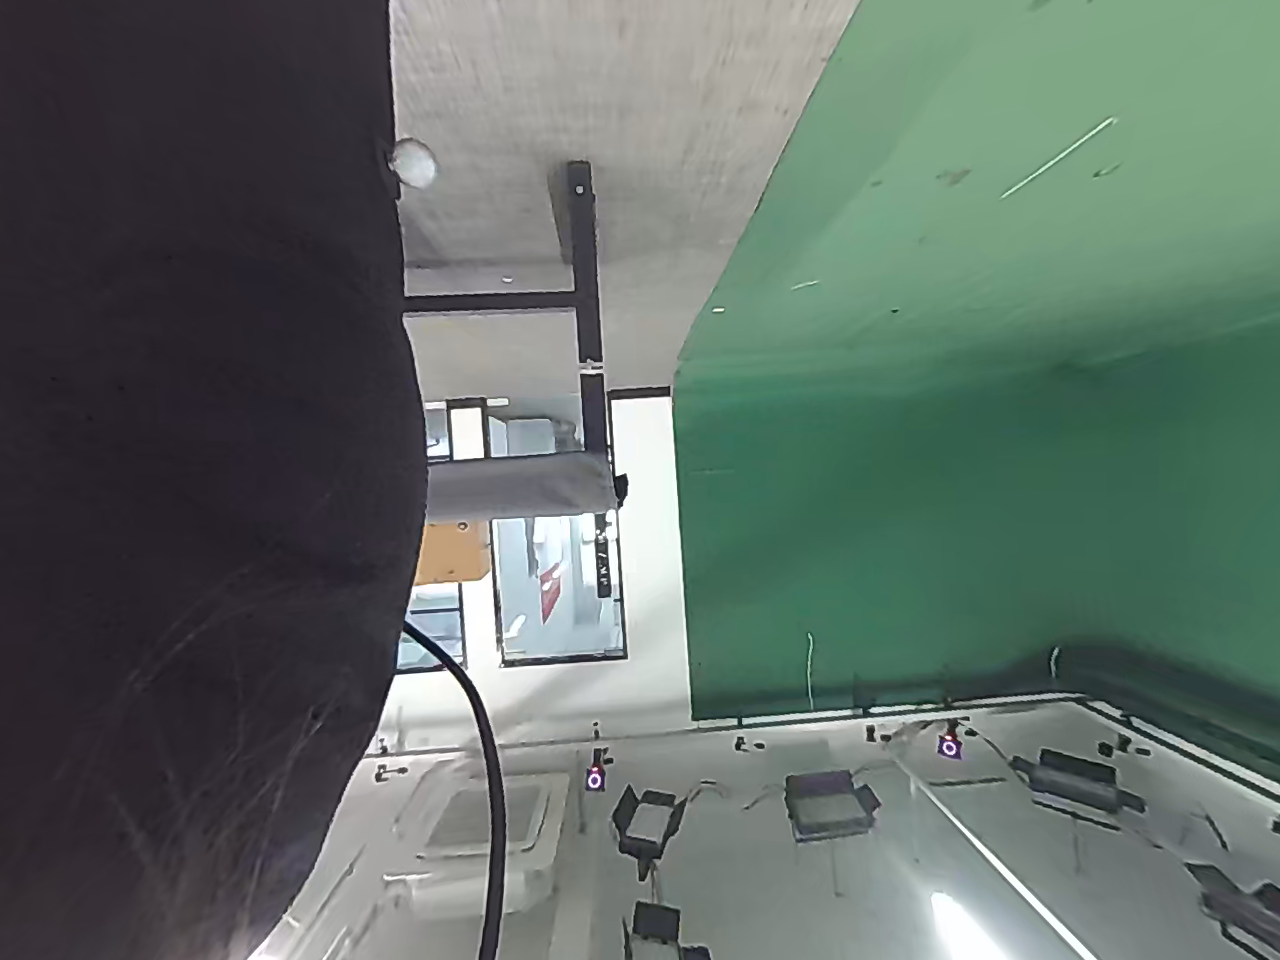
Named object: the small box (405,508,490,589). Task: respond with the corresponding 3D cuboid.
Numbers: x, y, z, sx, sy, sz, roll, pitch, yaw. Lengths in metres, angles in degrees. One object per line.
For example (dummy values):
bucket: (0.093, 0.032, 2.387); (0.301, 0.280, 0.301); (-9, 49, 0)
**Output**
small box: (-0.478, 0.165, 1.356); (0.168, 0.176, 0.179); (-4, -179, -7)
